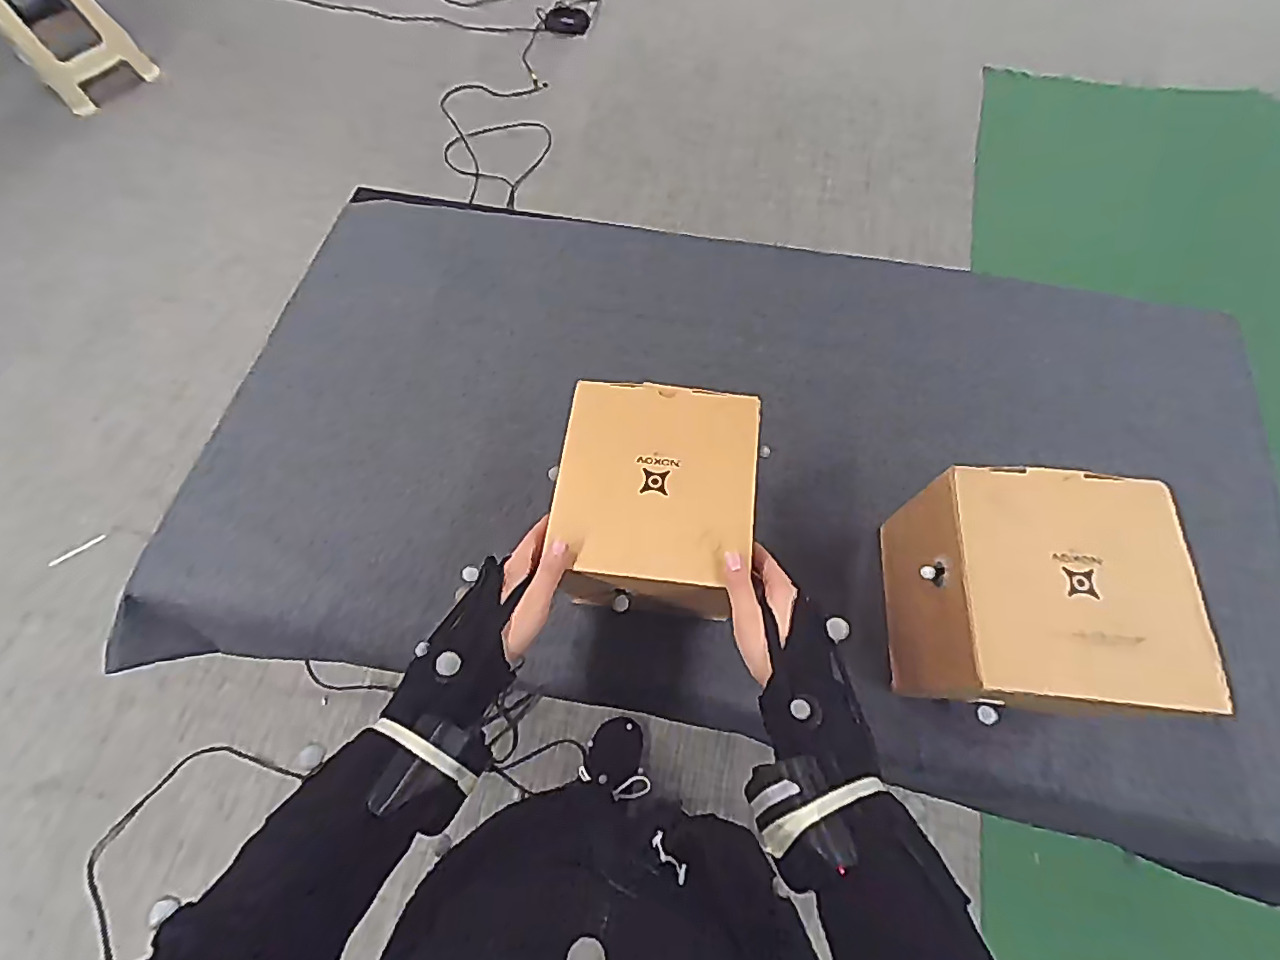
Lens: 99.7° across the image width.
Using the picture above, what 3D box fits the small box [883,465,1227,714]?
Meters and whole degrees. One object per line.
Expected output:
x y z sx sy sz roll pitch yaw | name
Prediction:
0.331 0.105 0.480 0.168 0.176 0.179 4 68 4 | small box

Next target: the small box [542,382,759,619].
0.016 0.029 0.520 0.168 0.176 0.179 6 67 4 | small box
